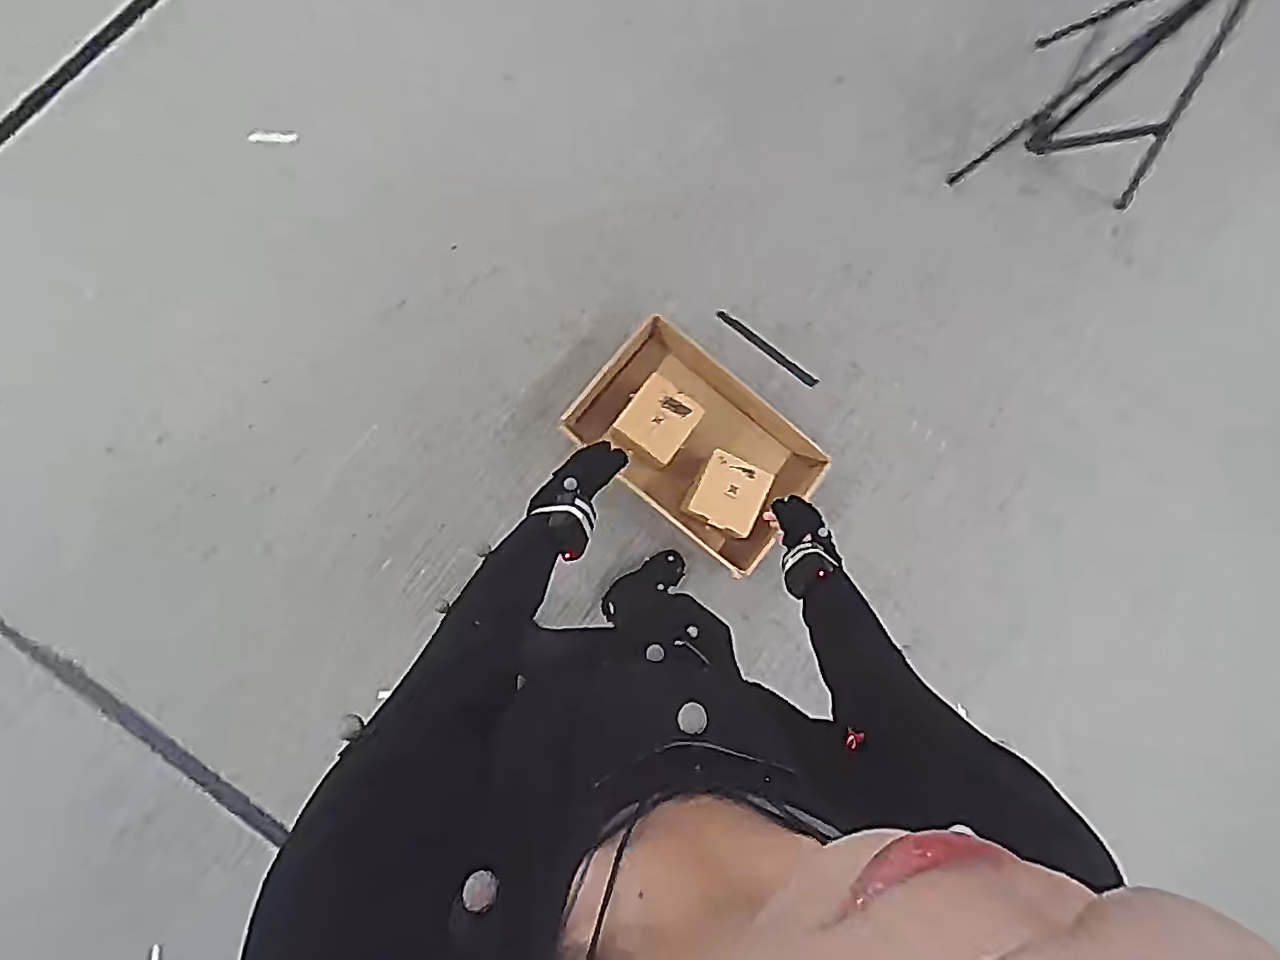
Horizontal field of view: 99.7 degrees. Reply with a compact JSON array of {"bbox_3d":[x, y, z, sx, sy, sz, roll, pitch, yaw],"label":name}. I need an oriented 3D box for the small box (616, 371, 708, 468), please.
[{"bbox_3d":[0.048,-0.151,1.420,0.168,0.176,0.179,37,83,-2],"label":"small box"}]
